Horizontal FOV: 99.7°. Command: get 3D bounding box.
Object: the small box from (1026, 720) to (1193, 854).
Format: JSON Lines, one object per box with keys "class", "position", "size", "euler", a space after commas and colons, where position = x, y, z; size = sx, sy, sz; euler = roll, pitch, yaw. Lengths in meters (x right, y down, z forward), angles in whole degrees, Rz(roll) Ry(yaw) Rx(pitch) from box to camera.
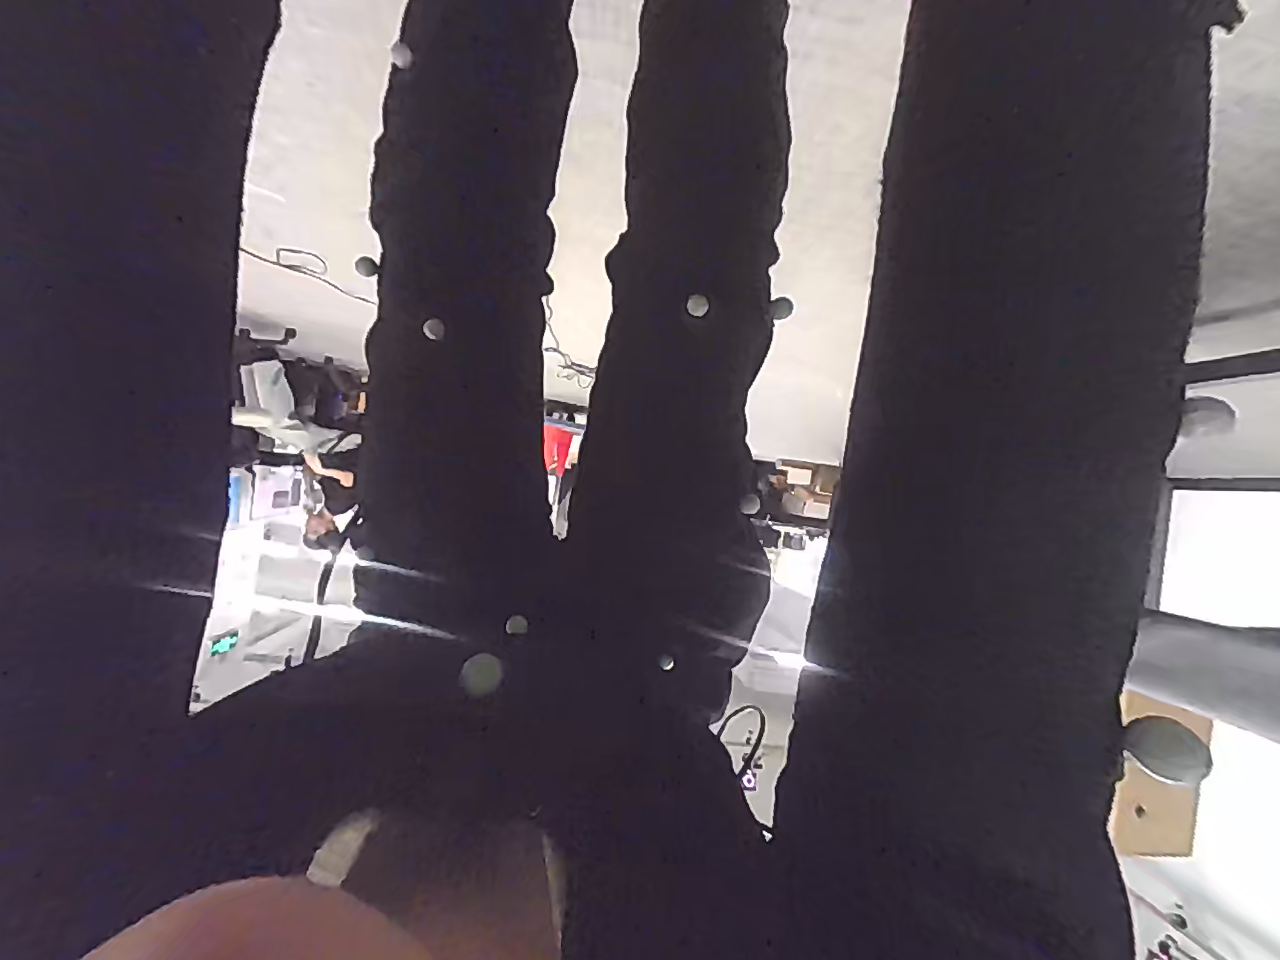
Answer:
{"class": "small box", "position": [0.880, 0.566, 1.021], "size": [0.179, 0.176, 0.168], "euler": [7, 180, -9]}
